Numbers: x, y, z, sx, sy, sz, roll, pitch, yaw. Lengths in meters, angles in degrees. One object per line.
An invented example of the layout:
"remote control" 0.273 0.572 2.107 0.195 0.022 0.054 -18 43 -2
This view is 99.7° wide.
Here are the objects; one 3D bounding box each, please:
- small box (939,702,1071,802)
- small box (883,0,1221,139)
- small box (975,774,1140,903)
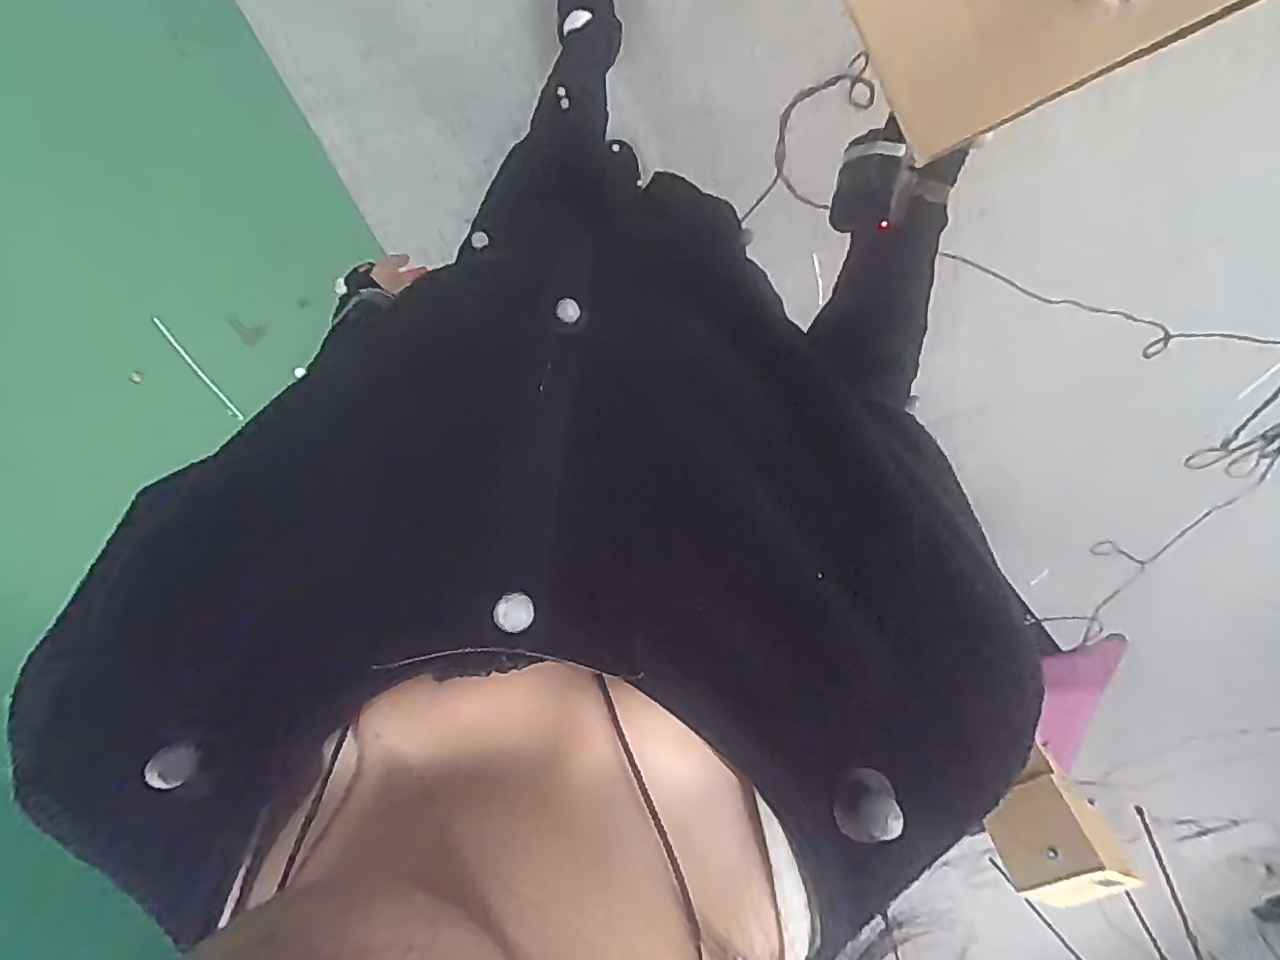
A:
"small box" 0.838 0.644 1.248 0.179 0.176 0.168 -36 120 22
"small box" 0.189 -0.300 0.218 0.179 0.168 0.176 -5 141 48
"small box" 0.841 0.731 1.107 0.168 0.176 0.179 30 121 -23
